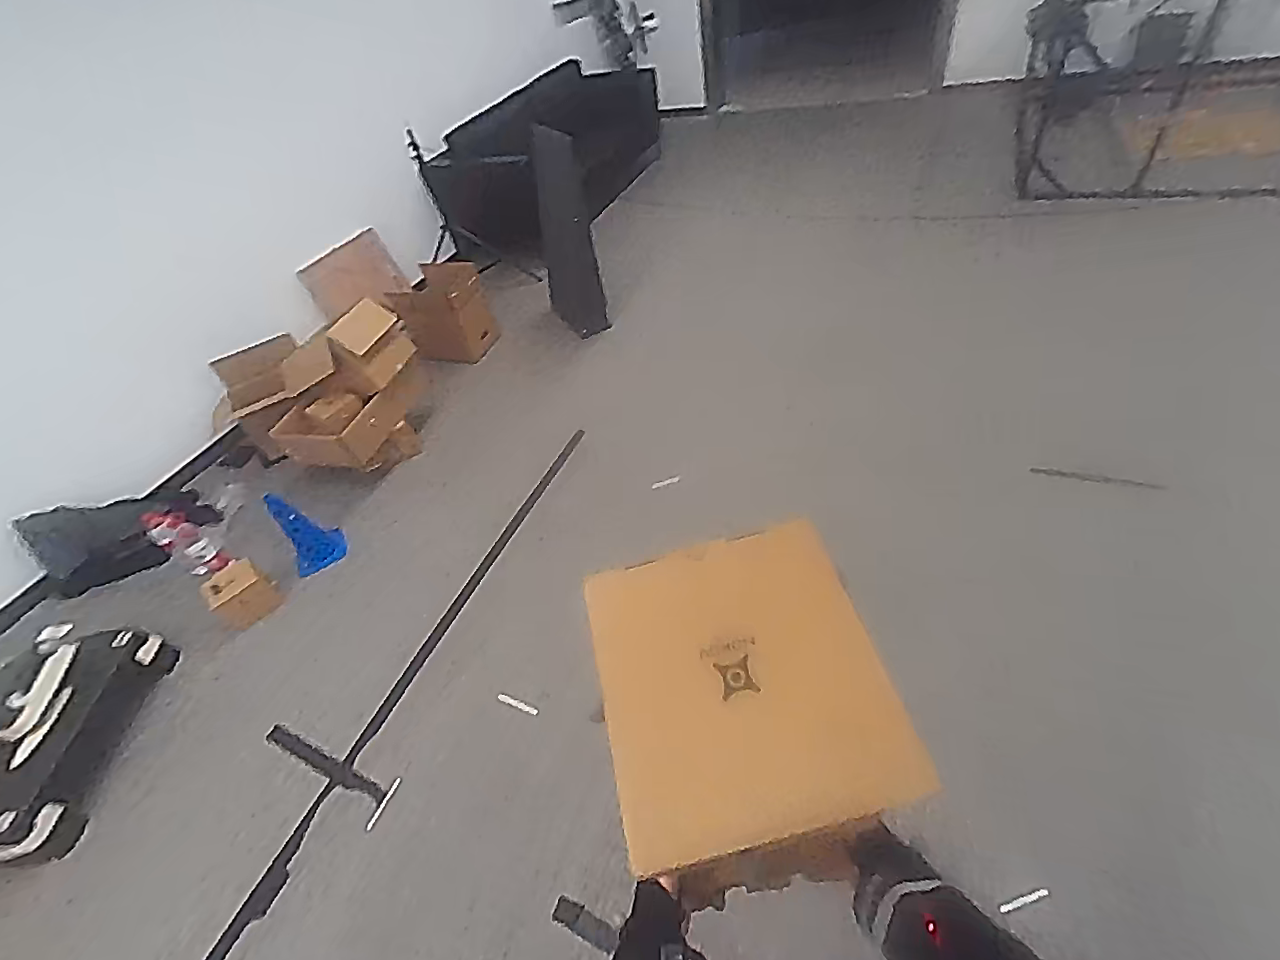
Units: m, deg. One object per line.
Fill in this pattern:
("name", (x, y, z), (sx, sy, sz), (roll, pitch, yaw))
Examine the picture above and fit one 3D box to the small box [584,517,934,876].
("small box", (0.069, 0.159, 0.386), (0.168, 0.176, 0.179), (-15, 52, 0))
